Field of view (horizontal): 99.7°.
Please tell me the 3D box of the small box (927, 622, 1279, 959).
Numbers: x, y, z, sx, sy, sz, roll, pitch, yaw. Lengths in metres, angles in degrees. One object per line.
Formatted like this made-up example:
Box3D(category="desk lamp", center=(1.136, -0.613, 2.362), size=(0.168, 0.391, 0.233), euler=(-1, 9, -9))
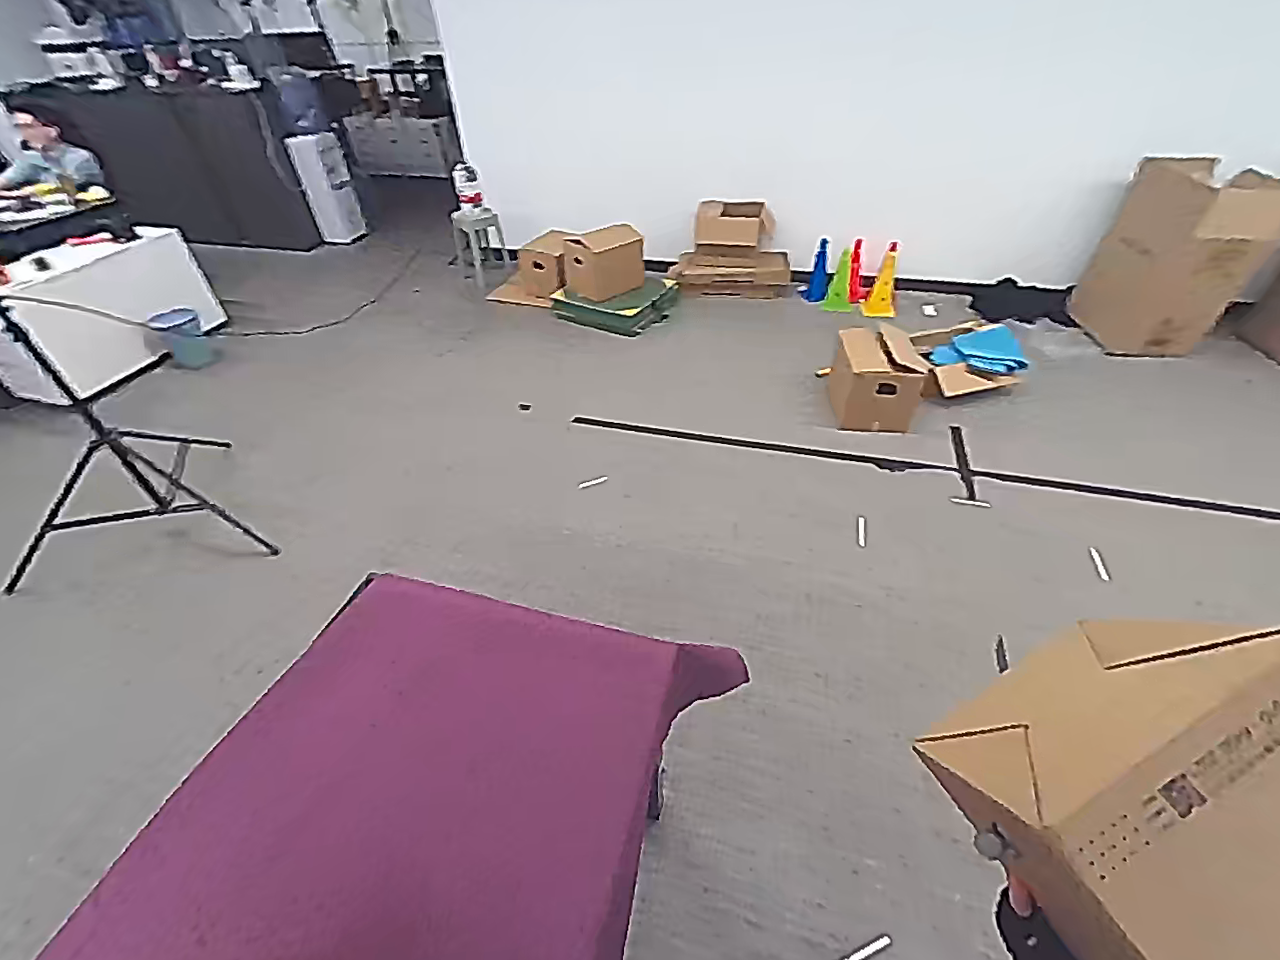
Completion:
Box3D(category="small box", center=(0.305, 0.195, 0.308), size=(0.168, 0.179, 0.176), euler=(-35, 75, -2))
